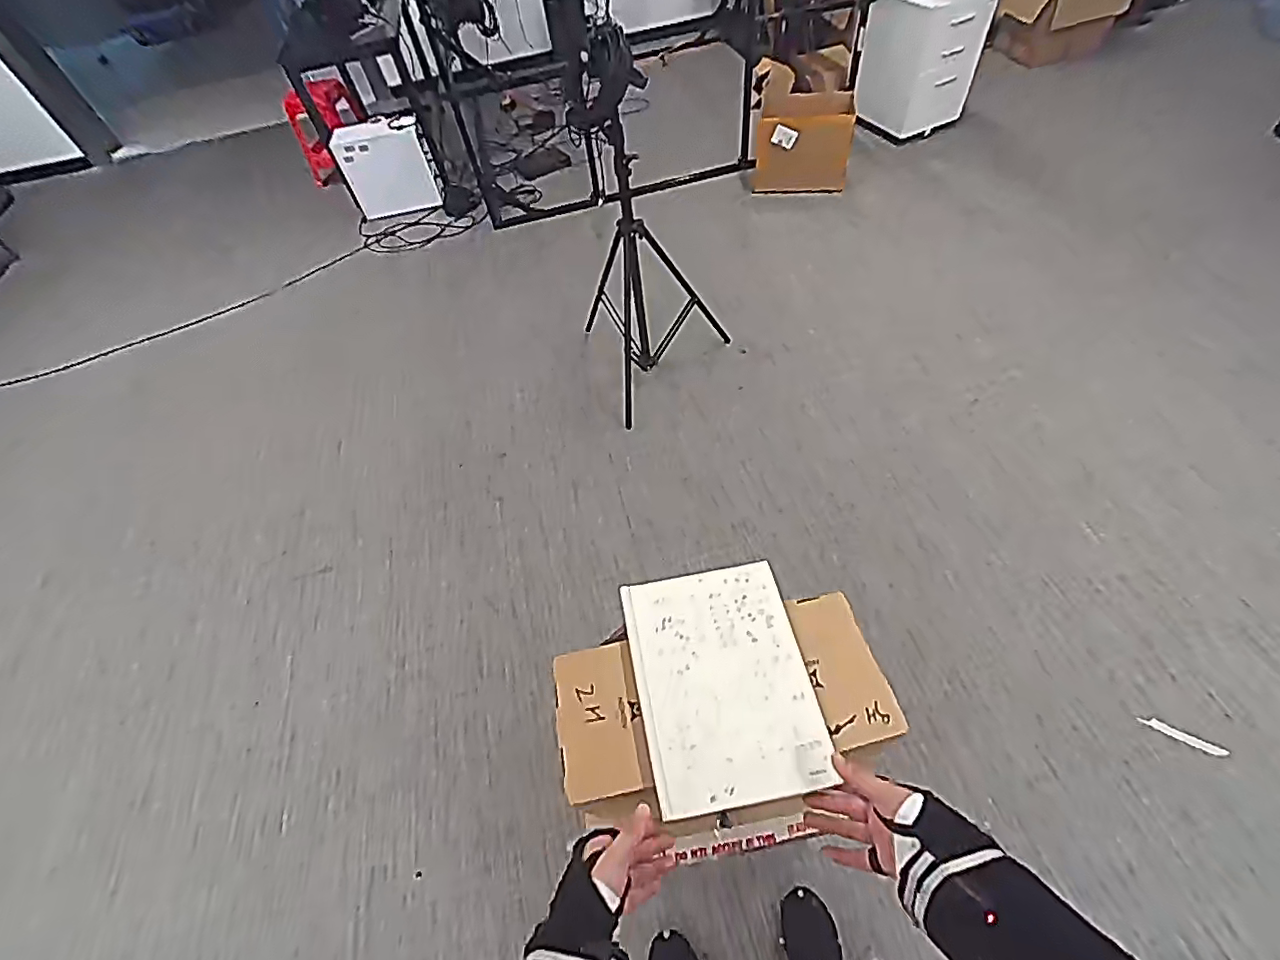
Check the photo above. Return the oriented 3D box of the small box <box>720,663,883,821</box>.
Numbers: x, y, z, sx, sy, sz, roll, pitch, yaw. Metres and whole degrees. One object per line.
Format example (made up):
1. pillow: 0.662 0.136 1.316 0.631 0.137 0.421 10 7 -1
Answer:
1. small box: 0.231 0.404 0.828 0.179 0.176 0.168 -15 54 -4

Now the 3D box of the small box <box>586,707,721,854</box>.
1. small box: 0.022 0.455 0.818 0.179 0.176 0.168 -10 55 2
